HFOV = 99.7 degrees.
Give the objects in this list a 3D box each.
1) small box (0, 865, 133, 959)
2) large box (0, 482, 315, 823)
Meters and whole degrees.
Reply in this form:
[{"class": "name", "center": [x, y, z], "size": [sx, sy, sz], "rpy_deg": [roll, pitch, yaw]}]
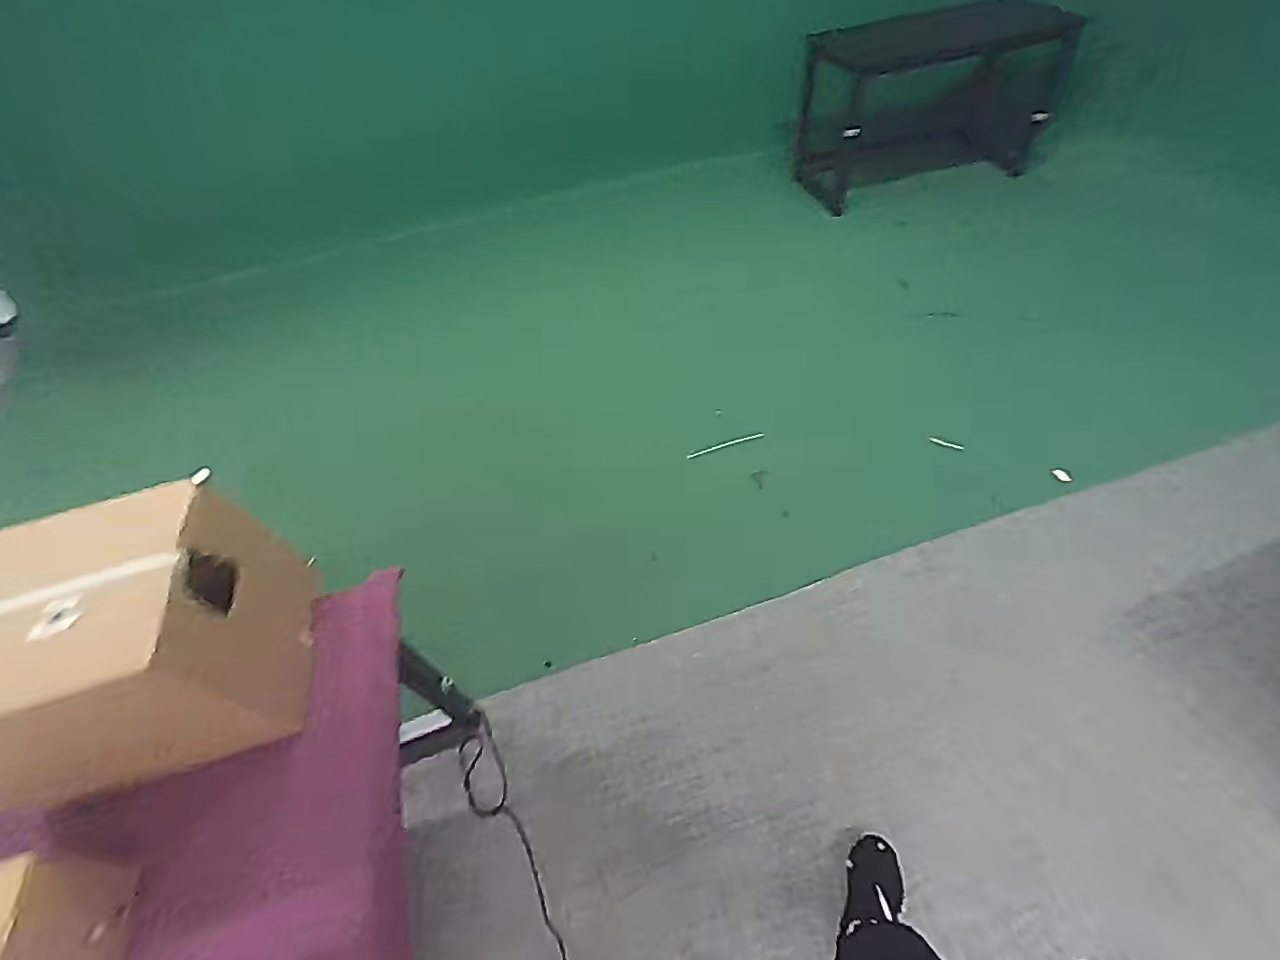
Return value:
[{"class": "small box", "center": [-0.782, 0.590, 0.644], "size": [0.179, 0.176, 0.168], "rpy_deg": [-17, 52, -7]}, {"class": "large box", "center": [-0.788, 0.264, 0.821], "size": [0.408, 0.320, 0.320], "rpy_deg": [-17, 53, -7]}]
